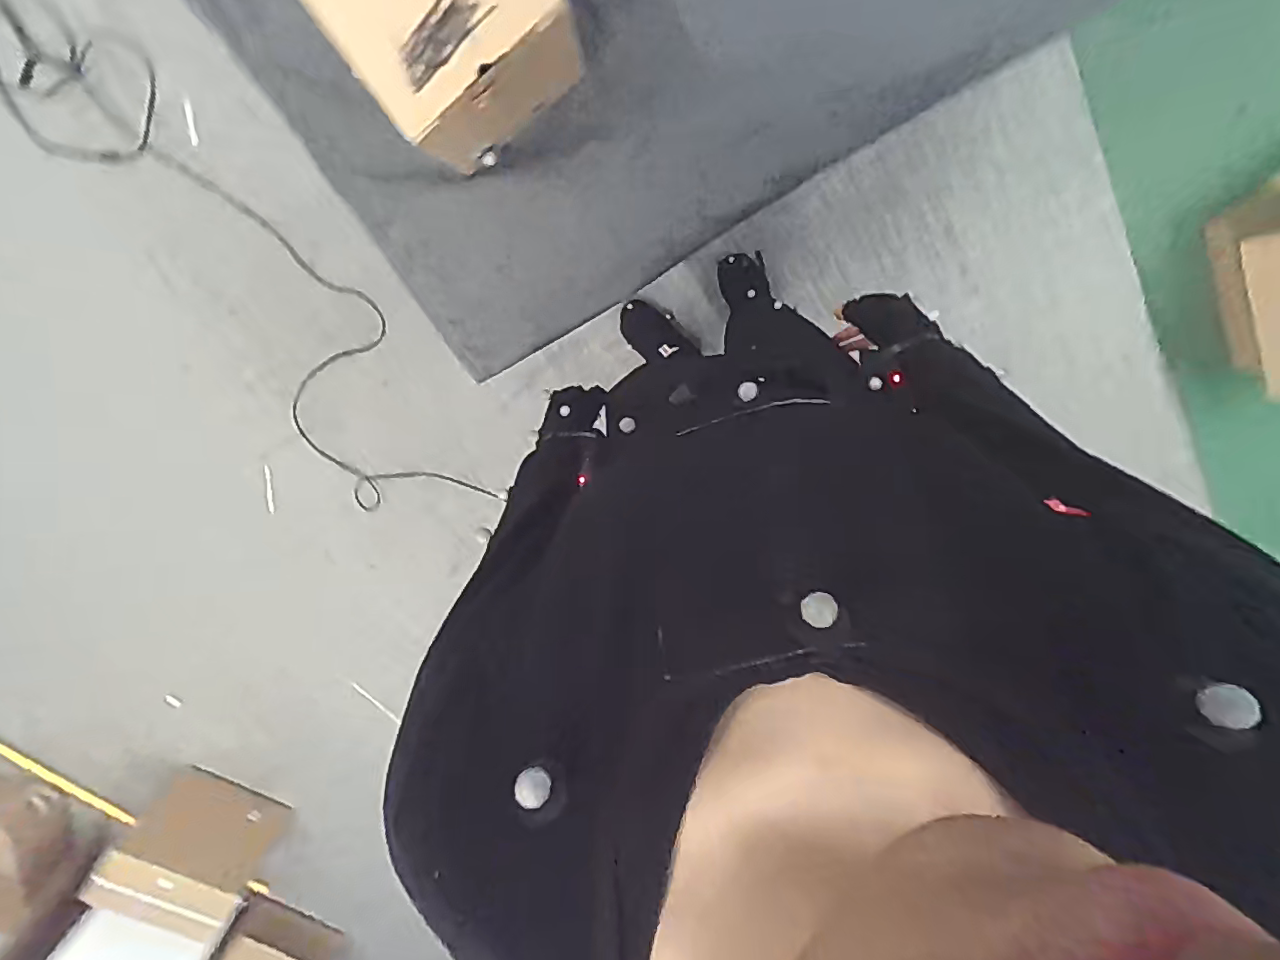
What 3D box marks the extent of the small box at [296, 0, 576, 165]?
[{"bbox_3d":[-0.174,-0.411,0.478,0.168,0.176,0.179,-34,107,12],"label":"small box"}]
